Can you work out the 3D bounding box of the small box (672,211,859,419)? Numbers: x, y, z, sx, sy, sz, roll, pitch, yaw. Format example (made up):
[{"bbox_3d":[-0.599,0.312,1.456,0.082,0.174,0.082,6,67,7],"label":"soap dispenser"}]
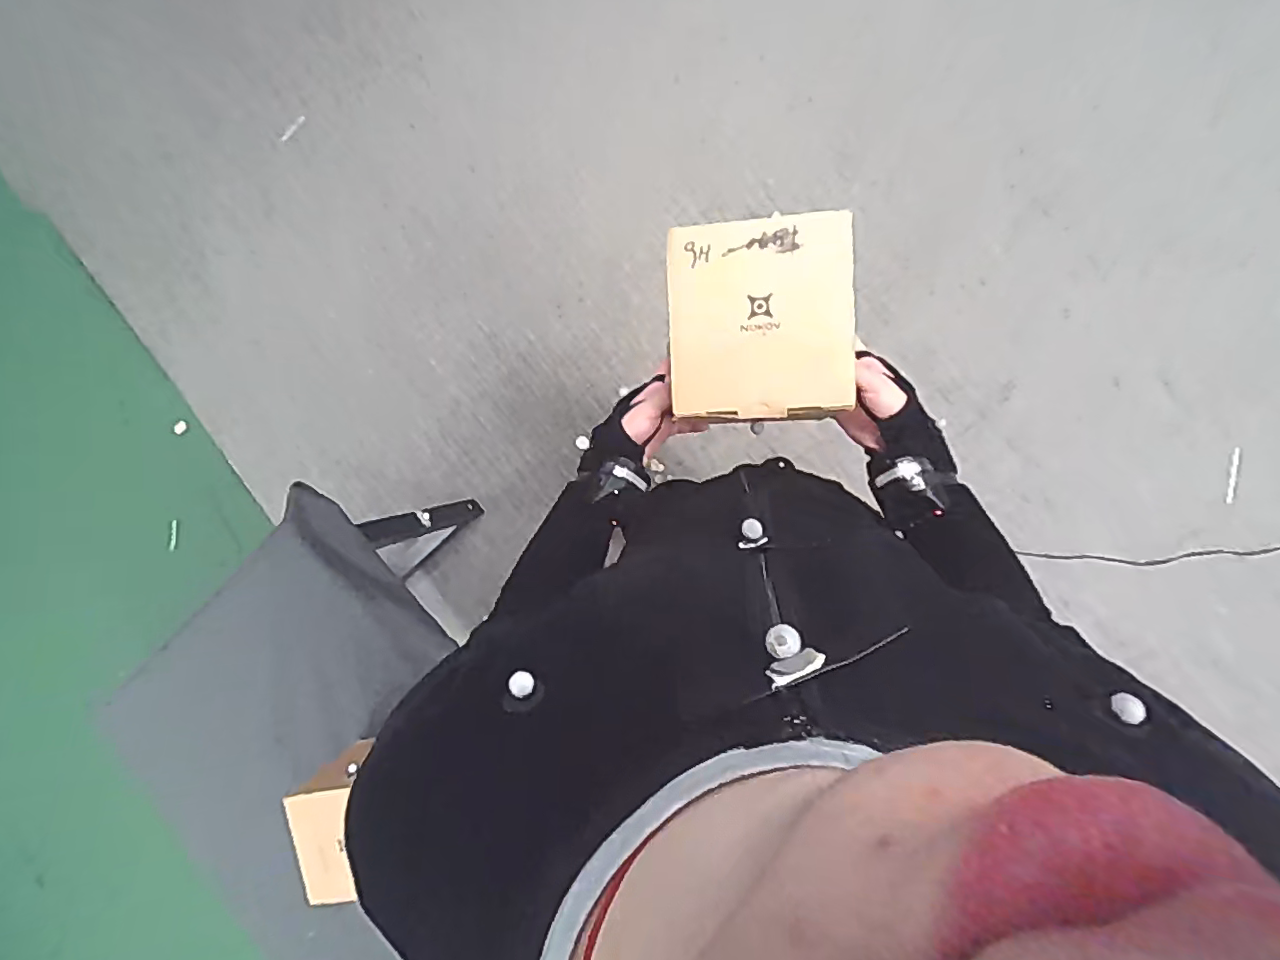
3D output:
[{"bbox_3d":[0.123,-0.154,0.567,0.168,0.176,0.179,-2,94,8],"label":"small box"}]

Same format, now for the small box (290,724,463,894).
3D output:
[{"bbox_3d":[-0.408,0.517,0.871,0.179,0.176,0.168,-14,90,12],"label":"small box"}]
